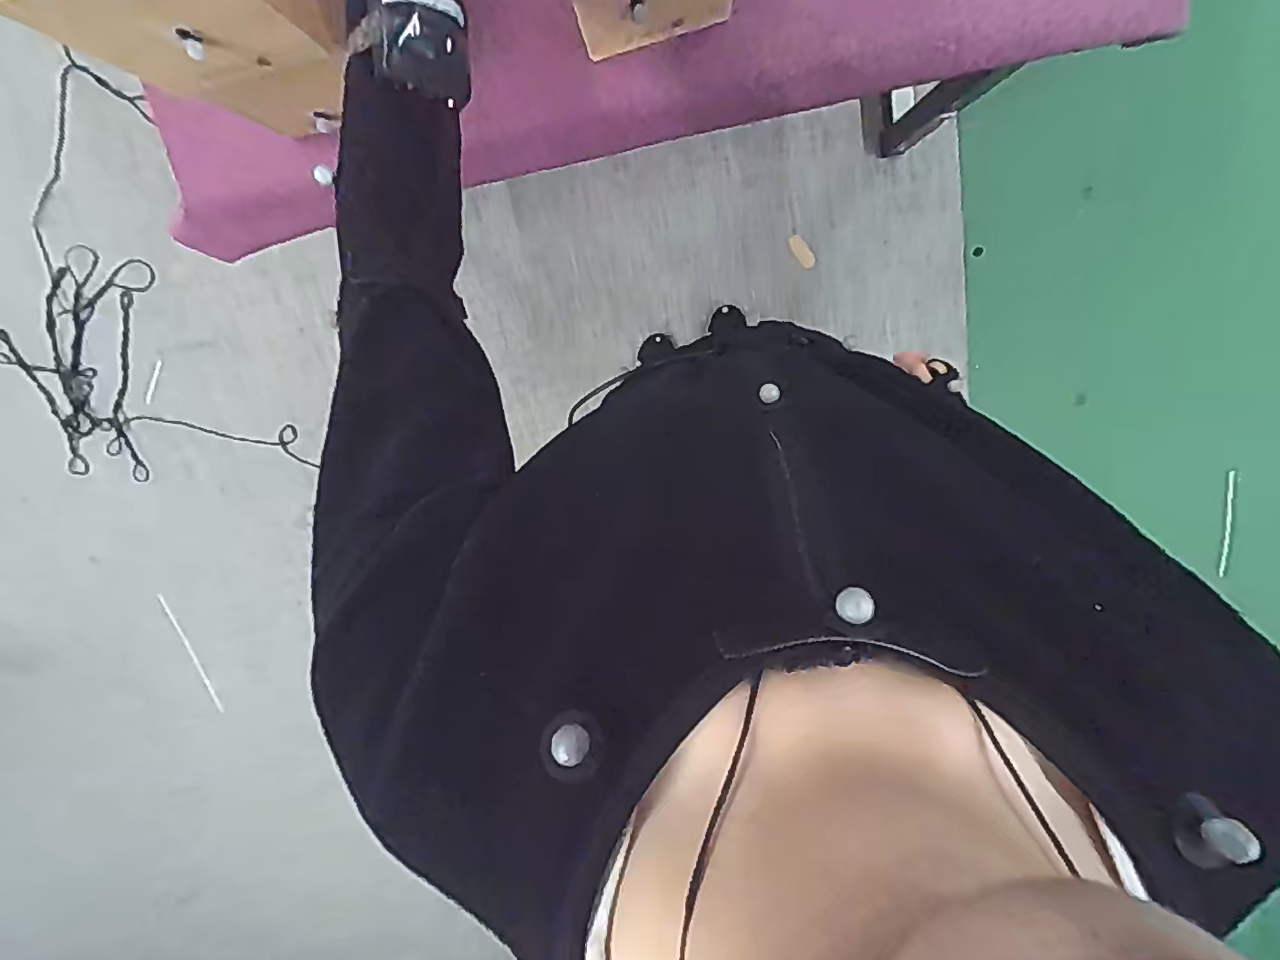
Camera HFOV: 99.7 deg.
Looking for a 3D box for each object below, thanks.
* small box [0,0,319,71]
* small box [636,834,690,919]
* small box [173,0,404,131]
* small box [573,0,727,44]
[{"bbox_3d":[-0.390,-0.451,0.413,0.168,0.176,0.179,-10,106,6],"label":"small box"},{"bbox_3d":[0.079,1.321,1.810,0.168,0.176,0.179,-4,106,6],"label":"small box"},{"bbox_3d":[-0.383,-0.507,0.567,0.168,0.176,0.179,-11,106,7],"label":"small box"},{"bbox_3d":[-0.002,-0.571,0.528,0.168,0.176,0.179,-11,104,7],"label":"small box"}]
